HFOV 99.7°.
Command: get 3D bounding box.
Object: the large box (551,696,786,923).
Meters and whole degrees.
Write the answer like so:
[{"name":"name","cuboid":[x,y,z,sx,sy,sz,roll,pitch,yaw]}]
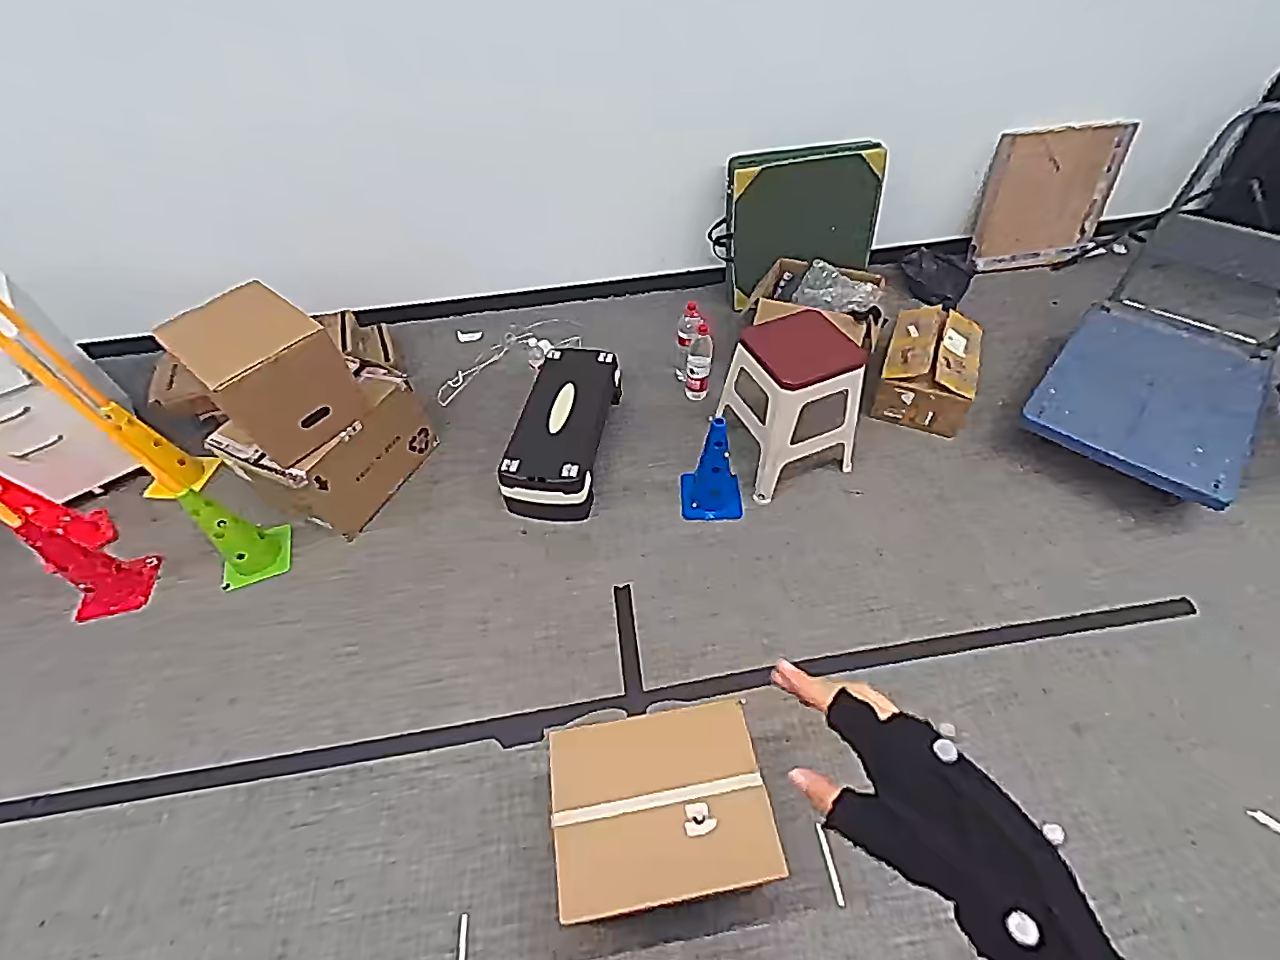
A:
[{"name":"large box","cuboid":[0.041,0.697,1.144,0.408,0.320,0.320,-8,51,-5]}]
